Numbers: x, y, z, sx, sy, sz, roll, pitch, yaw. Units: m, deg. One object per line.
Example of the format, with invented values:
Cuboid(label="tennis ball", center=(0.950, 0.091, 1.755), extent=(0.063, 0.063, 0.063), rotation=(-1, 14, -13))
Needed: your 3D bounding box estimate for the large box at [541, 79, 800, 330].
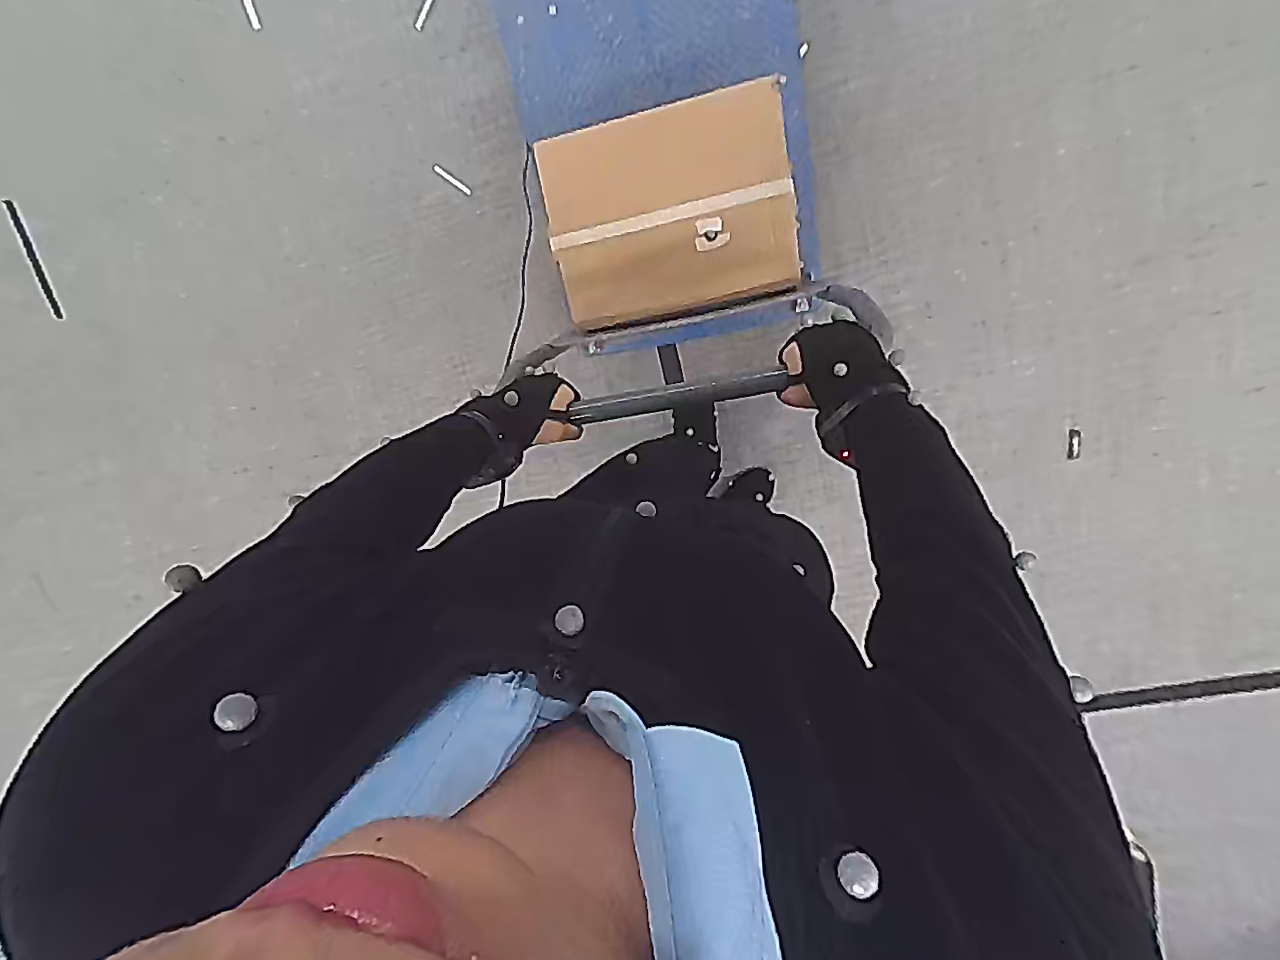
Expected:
Cuboid(label="large box", center=(0.069, -0.497, 1.063), extent=(0.408, 0.320, 0.320), rotation=(-9, 107, 10))
